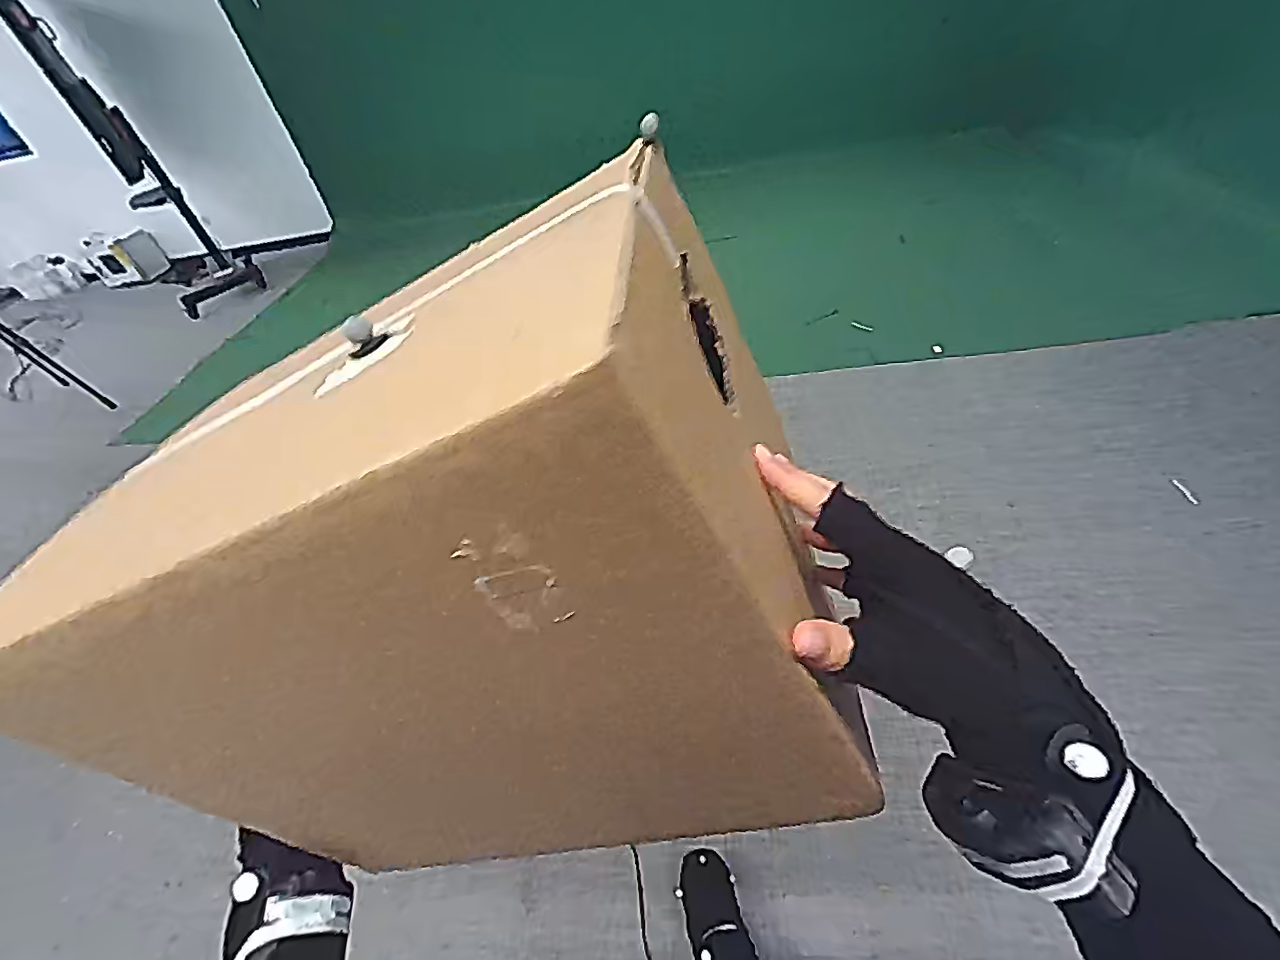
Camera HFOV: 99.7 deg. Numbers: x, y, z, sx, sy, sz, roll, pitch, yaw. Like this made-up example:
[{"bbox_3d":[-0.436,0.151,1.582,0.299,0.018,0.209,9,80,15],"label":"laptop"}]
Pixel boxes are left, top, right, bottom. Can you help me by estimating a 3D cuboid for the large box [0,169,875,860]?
[{"bbox_3d":[-0.097,0.044,0.411,0.408,0.320,0.320,-20,36,19],"label":"large box"}]
